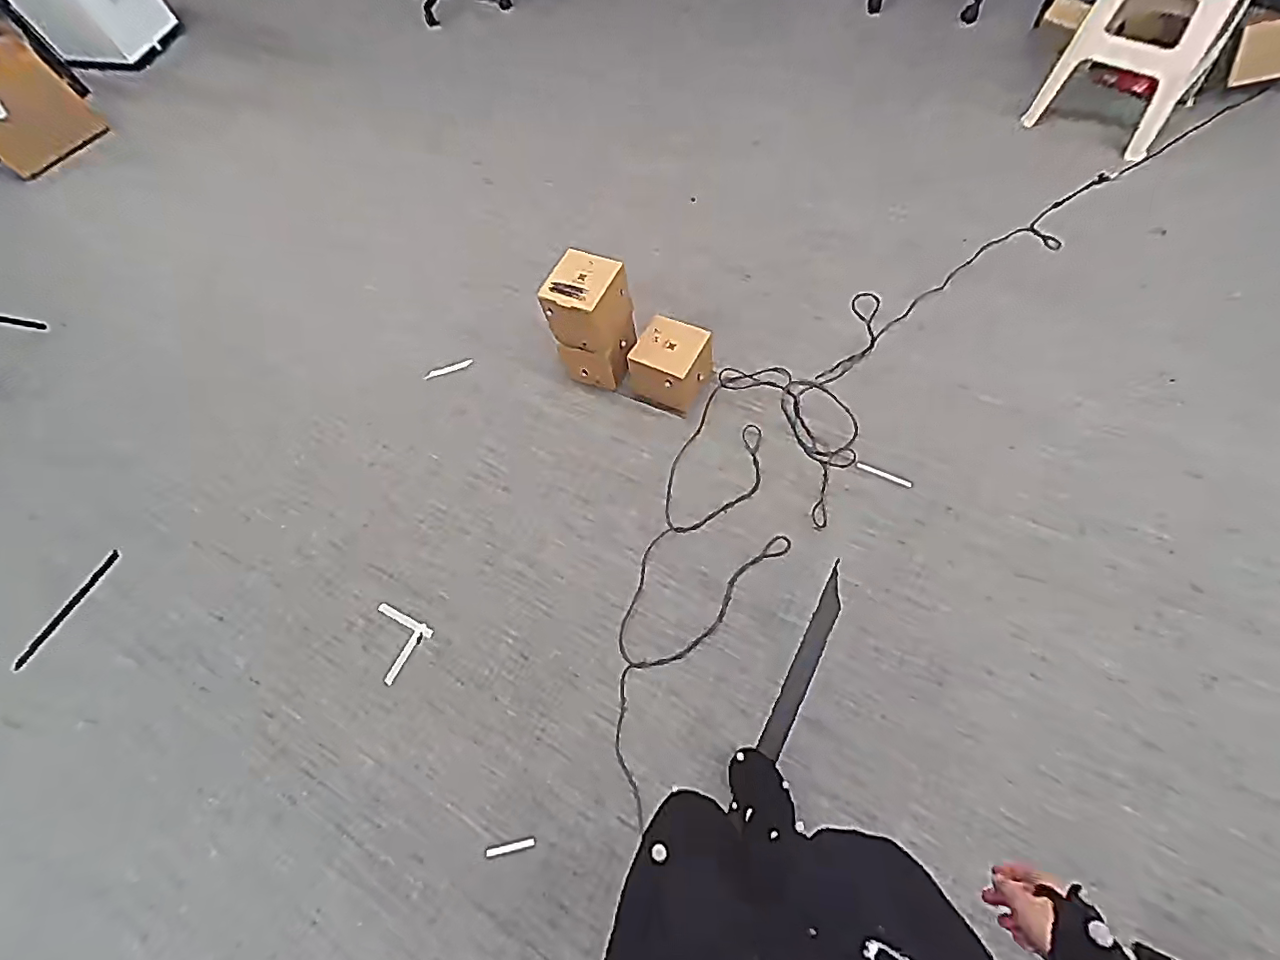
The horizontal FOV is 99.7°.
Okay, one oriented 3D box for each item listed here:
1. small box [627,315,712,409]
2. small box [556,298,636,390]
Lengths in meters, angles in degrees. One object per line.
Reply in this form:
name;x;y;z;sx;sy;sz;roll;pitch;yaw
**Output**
small box;0.091;-0.321;1.507;0.179;0.176;0.168;25;70;20
small box;-0.119;-0.394;1.579;0.168;0.176;0.179;17;69;16
